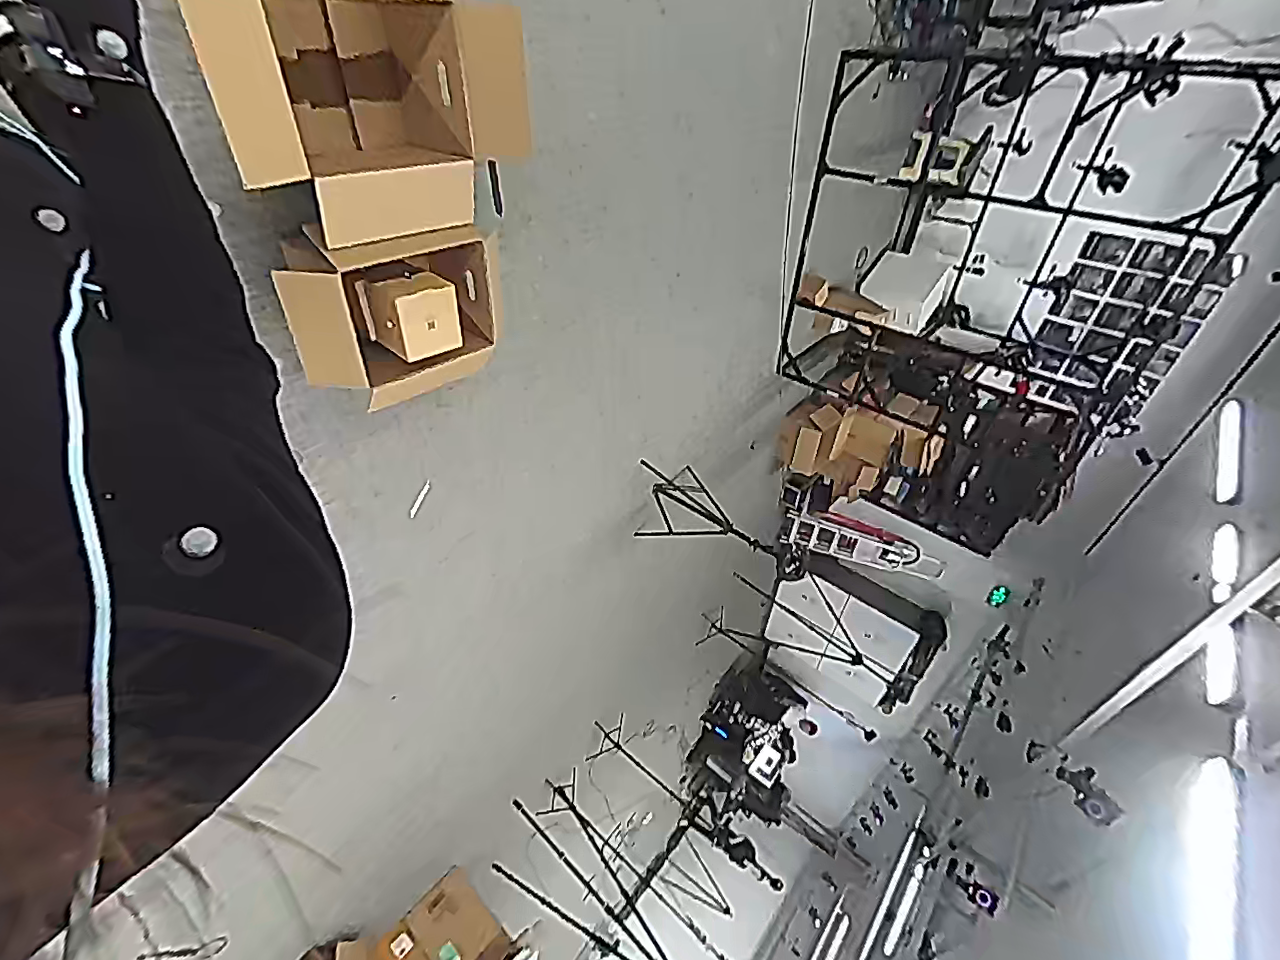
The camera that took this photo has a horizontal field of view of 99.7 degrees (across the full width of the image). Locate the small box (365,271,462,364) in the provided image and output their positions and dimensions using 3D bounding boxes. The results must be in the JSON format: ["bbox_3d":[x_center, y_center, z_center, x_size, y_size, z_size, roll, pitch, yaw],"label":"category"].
[{"bbox_3d":[-0.605,-0.440,1.453,0.168,0.176,0.179,-32,141,-37],"label":"small box"}]
